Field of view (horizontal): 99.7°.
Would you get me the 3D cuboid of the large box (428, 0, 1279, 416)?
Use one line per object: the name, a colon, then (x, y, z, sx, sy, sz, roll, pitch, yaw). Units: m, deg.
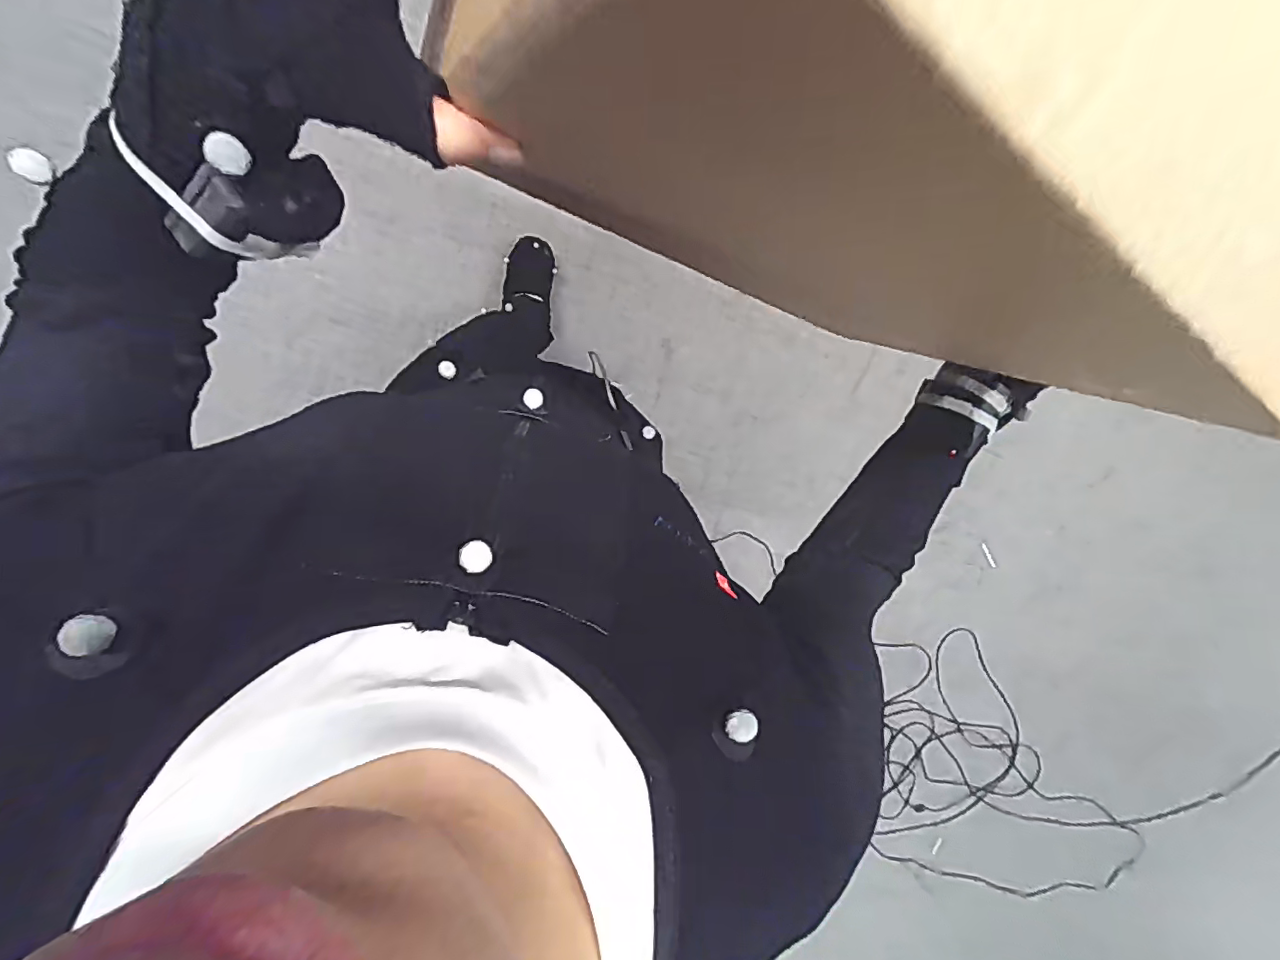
large box: (0.156, -0.253, 0.257, 0.408, 0.320, 0.320, 9, 109, -34)
